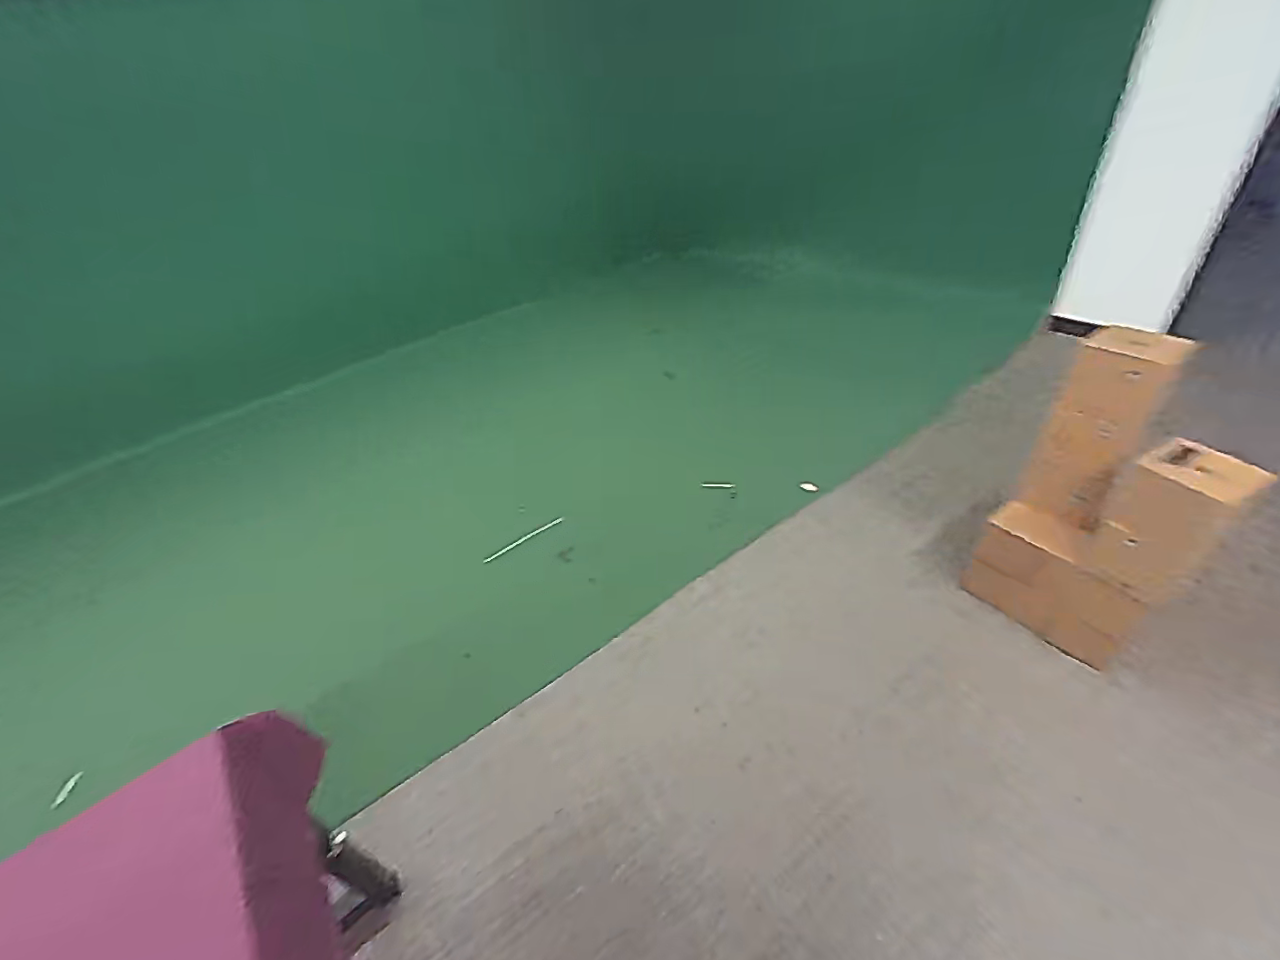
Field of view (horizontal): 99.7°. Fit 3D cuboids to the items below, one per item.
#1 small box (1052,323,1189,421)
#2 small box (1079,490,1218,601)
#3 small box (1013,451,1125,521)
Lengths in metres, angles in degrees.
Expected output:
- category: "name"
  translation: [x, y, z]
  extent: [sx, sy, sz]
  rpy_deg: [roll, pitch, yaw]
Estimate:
- category: "small box"
  translation: [1.180, -0.266, 1.339]
  extent: [0.168, 0.176, 0.179]
  rpy_deg: [-27, 41, -24]
- category: "small box"
  translation: [1.229, 0.159, 1.321]
  extent: [0.179, 0.176, 0.168]
  rpy_deg: [-26, 42, -20]
- category: "small box"
  translation: [1.211, -0.007, 1.538]
  extent: [0.168, 0.176, 0.179]
  rpy_deg: [-29, 42, -25]
